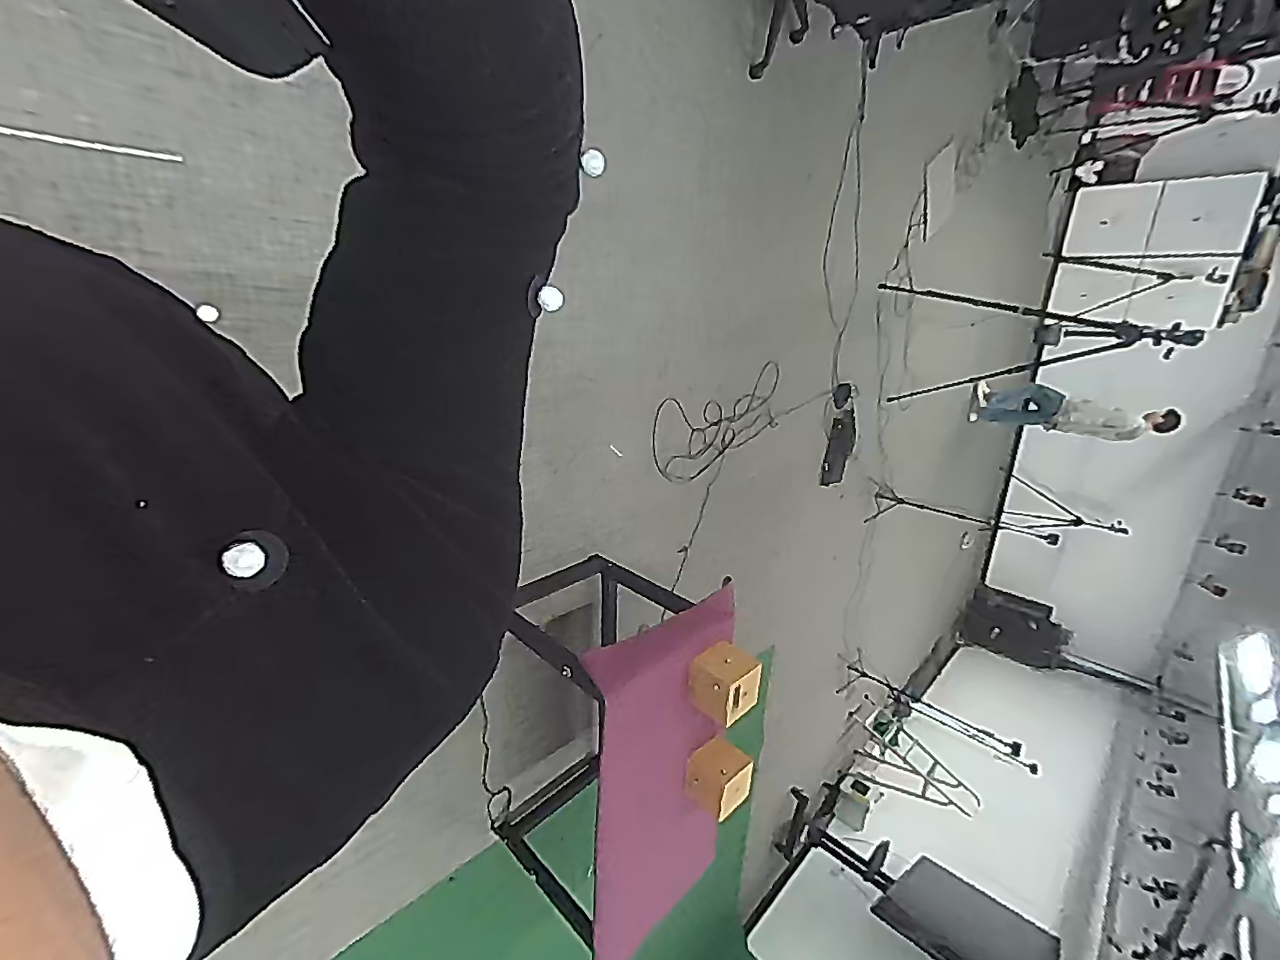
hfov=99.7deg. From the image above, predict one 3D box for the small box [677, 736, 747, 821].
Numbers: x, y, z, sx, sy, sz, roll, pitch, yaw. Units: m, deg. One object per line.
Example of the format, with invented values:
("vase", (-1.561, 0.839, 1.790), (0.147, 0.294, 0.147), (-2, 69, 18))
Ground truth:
("small box", (0.259, 1.069, 1.955), (0.179, 0.176, 0.168), (-11, 113, -41))
